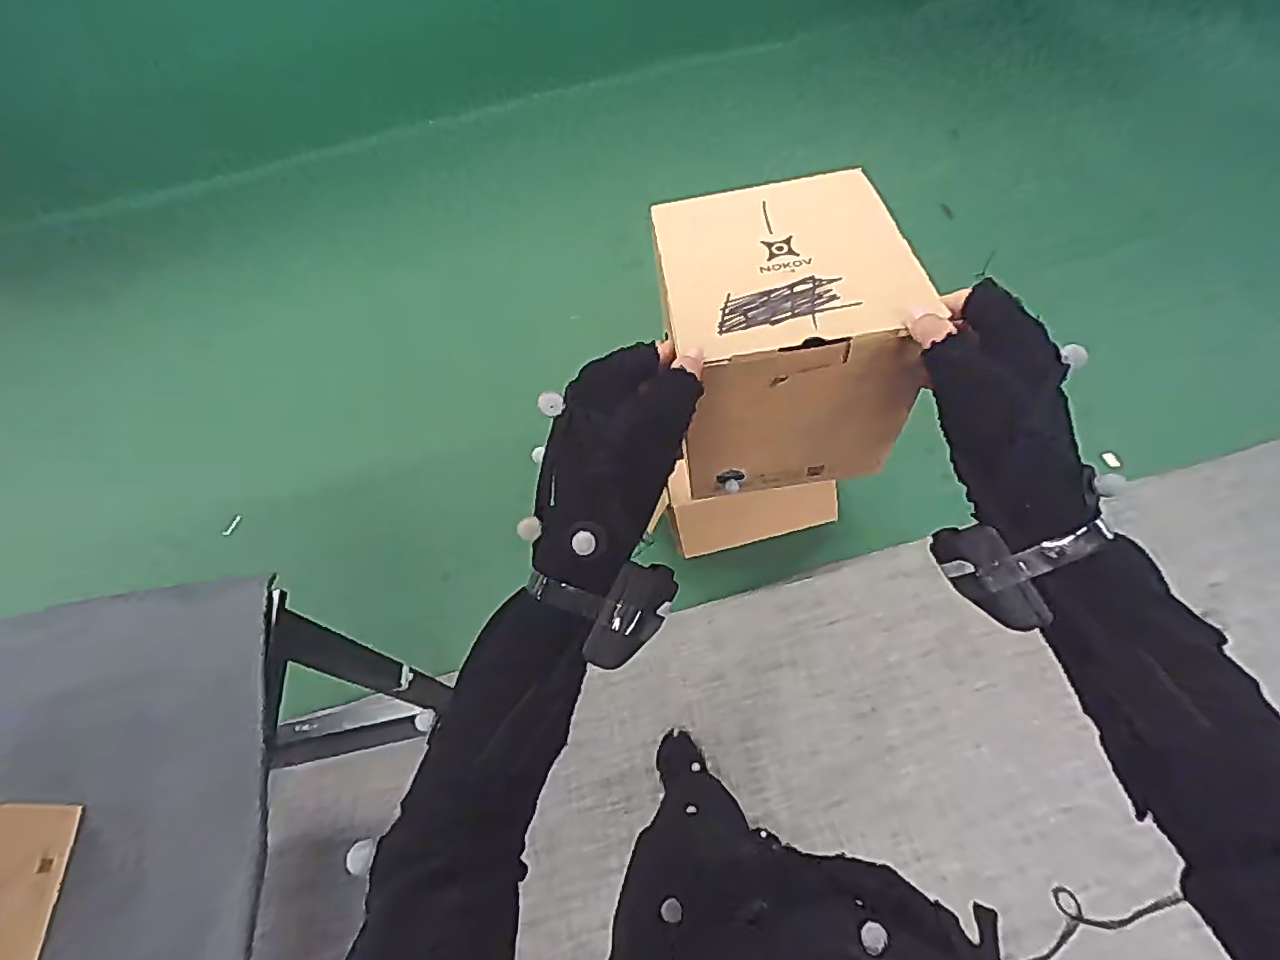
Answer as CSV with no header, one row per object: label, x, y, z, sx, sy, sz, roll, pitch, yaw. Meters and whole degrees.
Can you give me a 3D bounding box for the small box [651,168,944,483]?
small box,0.106,-0.110,0.436,0.168,0.176,0.179,-8,57,4
